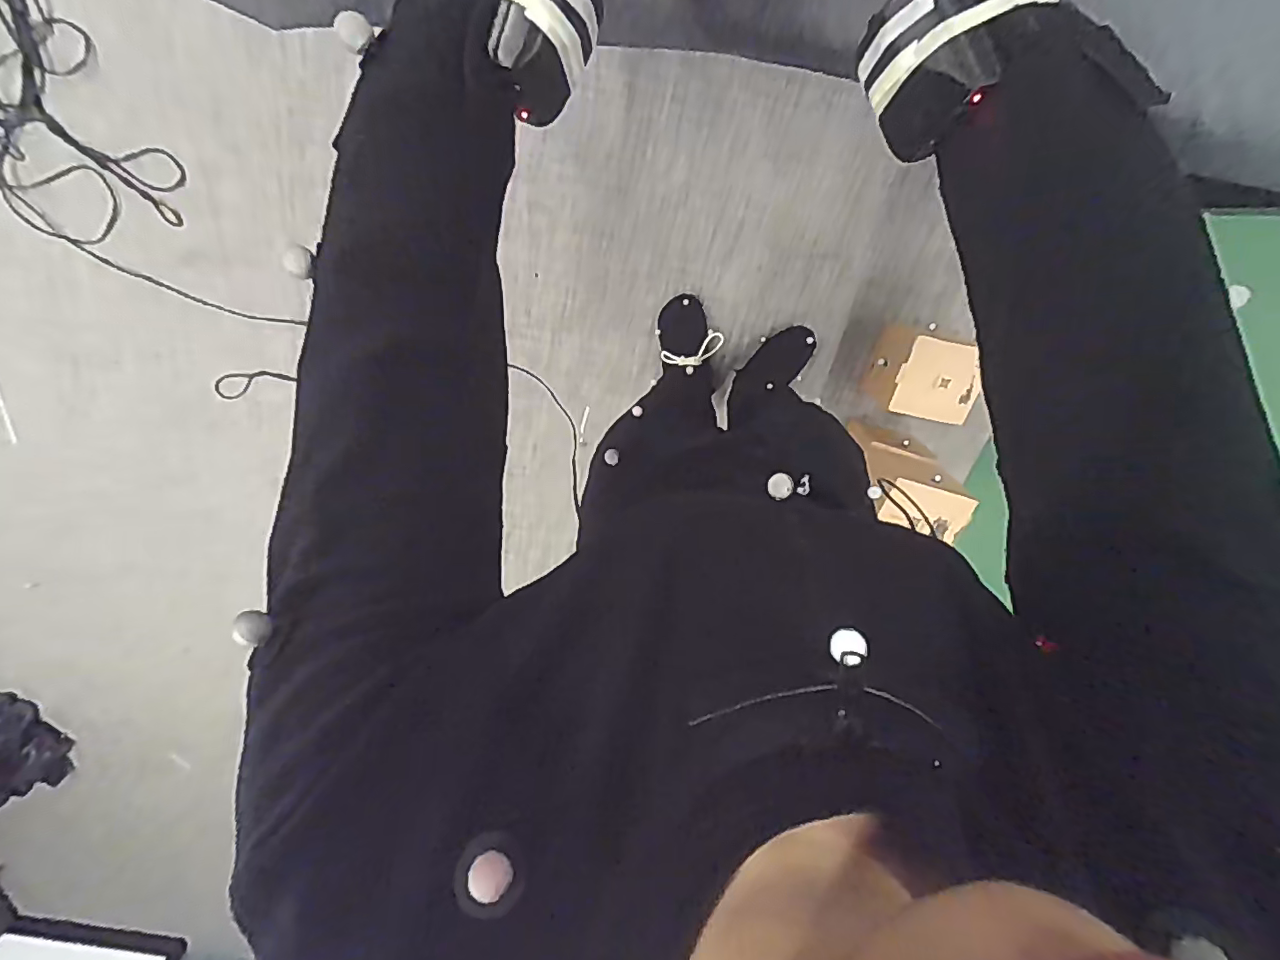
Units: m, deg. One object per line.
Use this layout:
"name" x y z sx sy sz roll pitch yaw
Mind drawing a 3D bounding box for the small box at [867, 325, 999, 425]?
"small box" 0.629 -0.238 1.191 0.179 0.176 0.168 11 115 -2

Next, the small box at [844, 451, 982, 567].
"small box" 0.569 0.054 1.154 0.179 0.176 0.168 16 114 -4

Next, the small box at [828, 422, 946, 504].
"small box" 0.581 -0.023 1.299 0.179 0.176 0.168 16 115 -3
